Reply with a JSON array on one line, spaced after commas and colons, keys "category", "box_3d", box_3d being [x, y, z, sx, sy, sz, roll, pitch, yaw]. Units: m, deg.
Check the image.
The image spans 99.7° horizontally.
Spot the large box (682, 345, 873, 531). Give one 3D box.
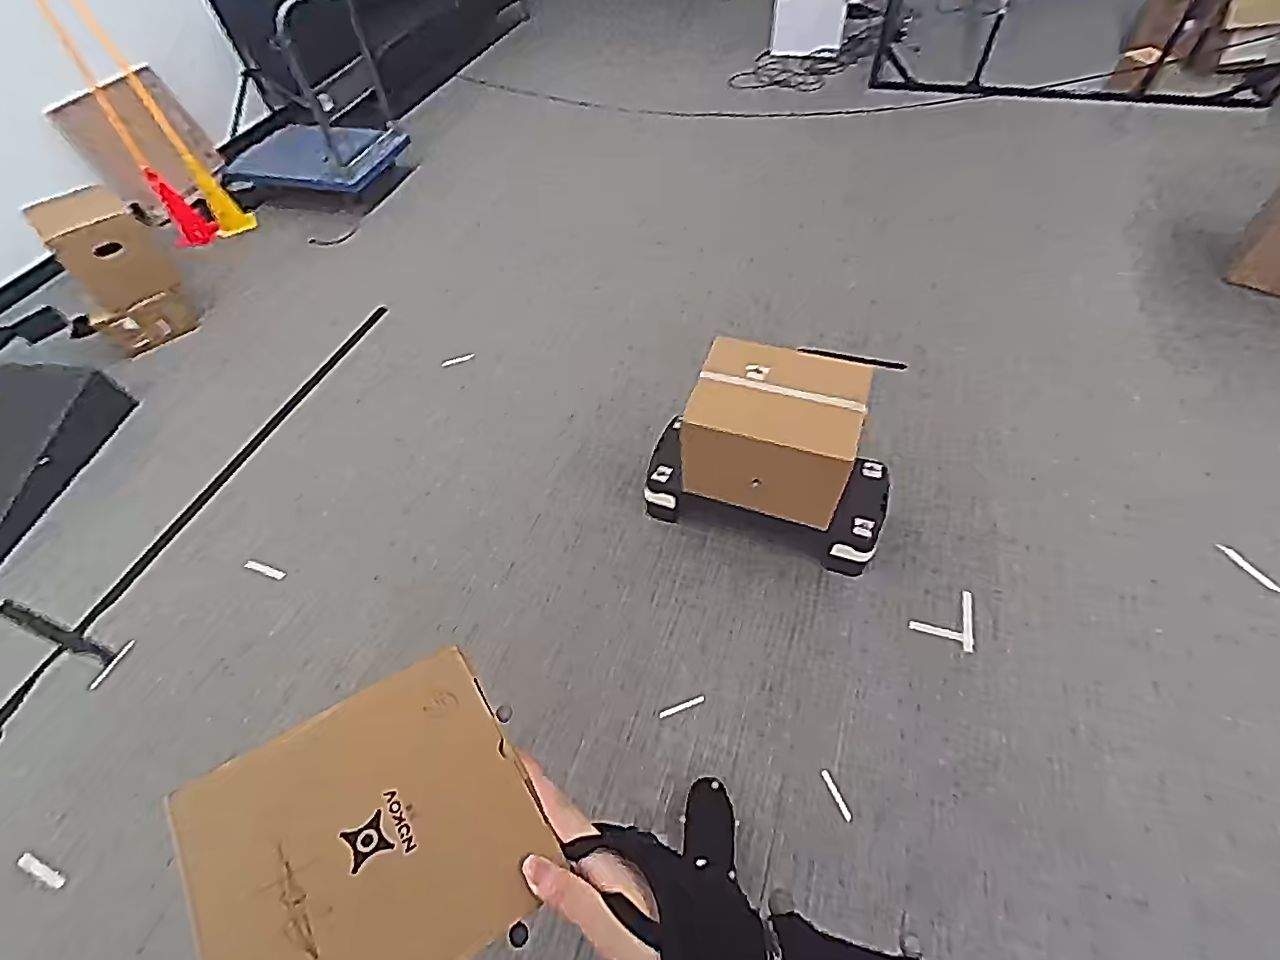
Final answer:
[{"category": "large box", "box_3d": [0.353, -0.109, 1.418, 0.408, 0.320, 0.320, 14, 57, 17]}]

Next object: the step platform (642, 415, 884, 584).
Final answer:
[{"category": "step platform", "box_3d": [0.351, 0.038, 1.608, 0.684, 0.204, 0.286, 19, 59, 19]}]
